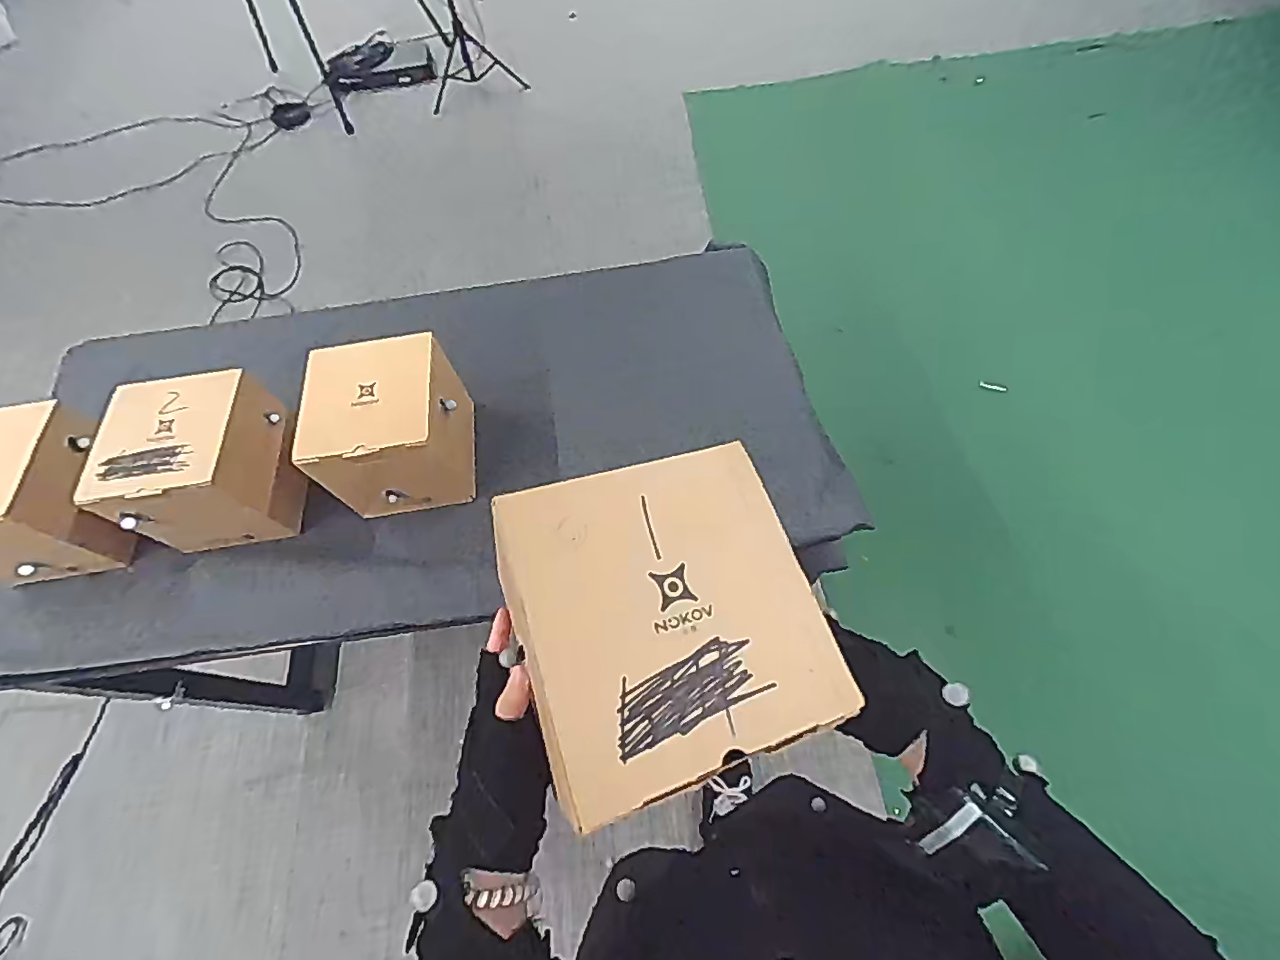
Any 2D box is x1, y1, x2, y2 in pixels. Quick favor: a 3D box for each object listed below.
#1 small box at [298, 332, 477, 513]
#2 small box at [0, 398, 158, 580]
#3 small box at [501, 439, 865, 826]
[{"bbox_3d":[-0.333,-0.074,0.749,0.168,0.176,0.179,-9,64,-1],"label":"small box"},{"bbox_3d":[-0.811,0.017,0.728,0.168,0.176,0.179,-9,62,-2],"label":"small box"},{"bbox_3d":[0.008,0.098,0.372,0.168,0.176,0.179,-13,69,-19],"label":"small box"}]
